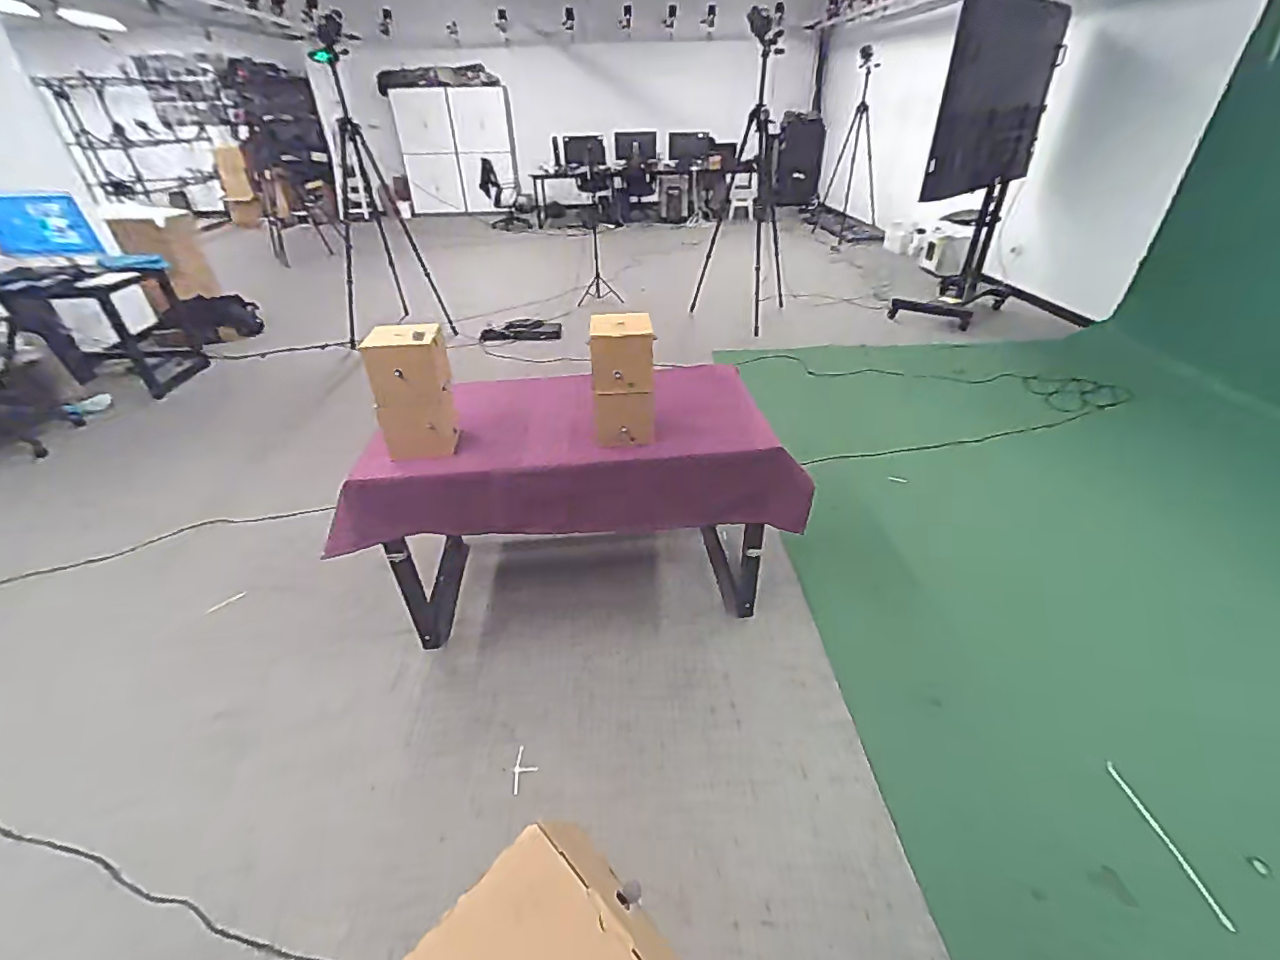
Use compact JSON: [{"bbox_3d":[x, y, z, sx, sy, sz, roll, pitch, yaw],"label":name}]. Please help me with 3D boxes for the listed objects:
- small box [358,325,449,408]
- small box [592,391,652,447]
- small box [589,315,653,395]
[{"bbox_3d":[-0.626,-0.307,1.460,0.179,0.176,0.168,-5,35,-6],"label":"small box"},{"bbox_3d":[-0.052,-0.213,1.592,0.168,0.176,0.179,-3,35,-1],"label":"small box"},{"bbox_3d":[-0.052,-0.348,1.500,0.168,0.176,0.179,-3,35,-2],"label":"small box"}]
